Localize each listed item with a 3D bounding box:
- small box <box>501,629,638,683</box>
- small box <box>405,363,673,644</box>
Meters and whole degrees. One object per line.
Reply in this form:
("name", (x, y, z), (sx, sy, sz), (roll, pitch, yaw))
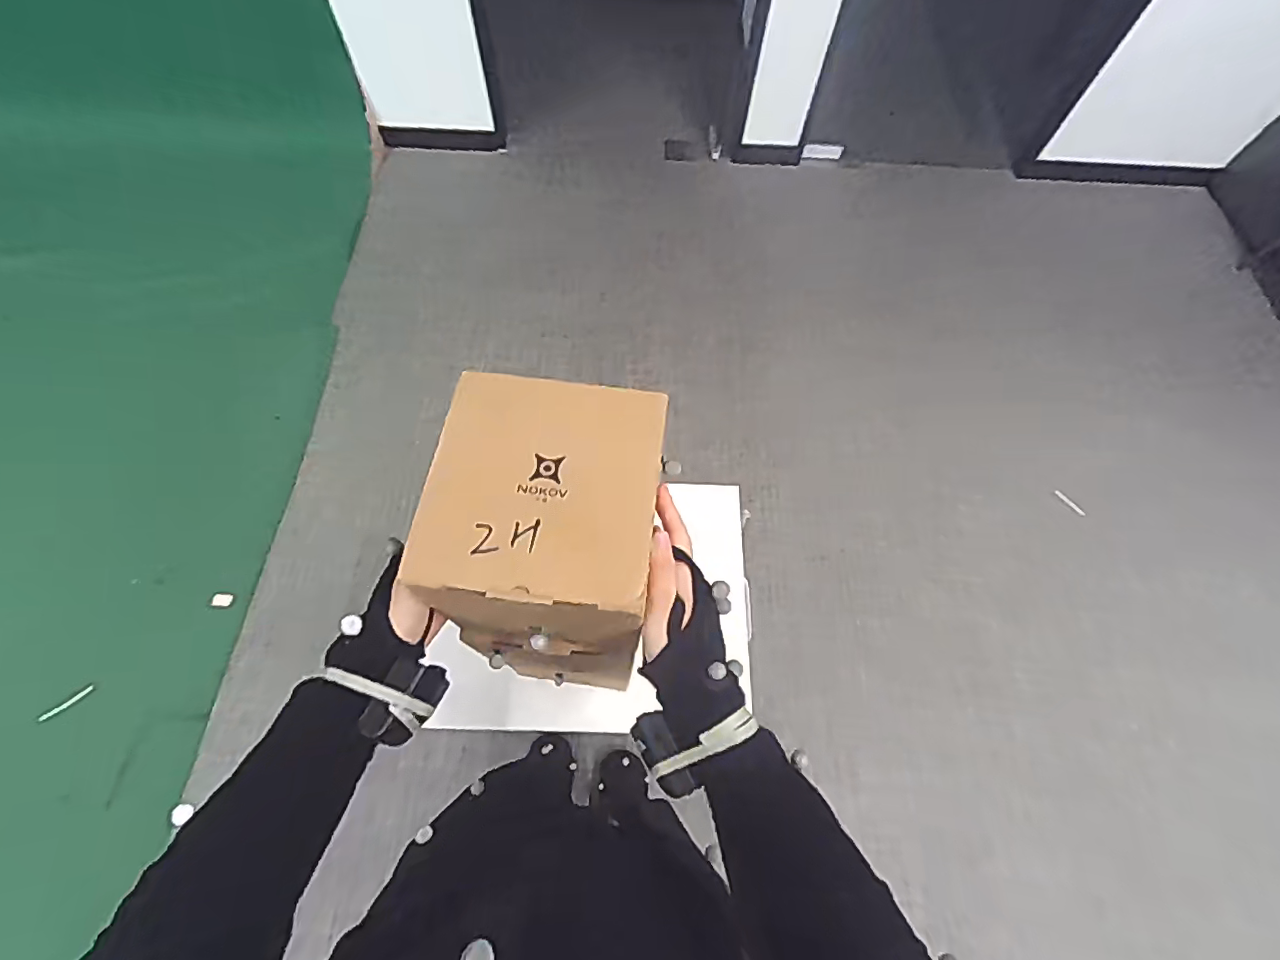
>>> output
("small box", (-0.081, 0.175, 0.756), (0.168, 0.176, 0.179), (8, 64, 1))
("small box", (-0.068, 0.029, 0.461), (0.168, 0.176, 0.179), (7, 64, 2))
